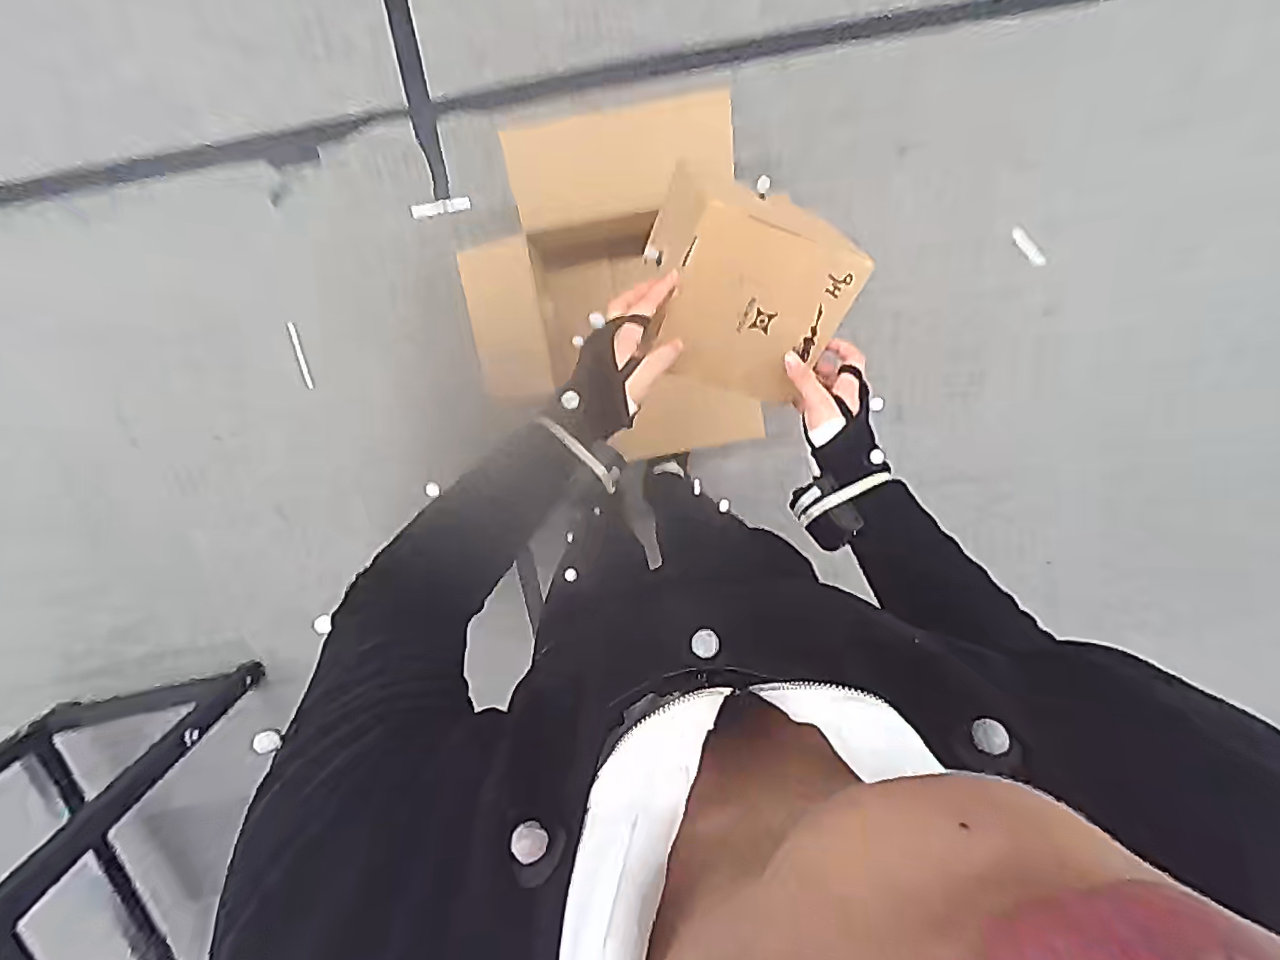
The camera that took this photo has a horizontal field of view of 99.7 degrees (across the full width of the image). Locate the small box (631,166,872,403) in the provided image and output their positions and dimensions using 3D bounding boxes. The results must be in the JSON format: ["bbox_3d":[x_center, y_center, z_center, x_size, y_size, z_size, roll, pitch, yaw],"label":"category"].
[{"bbox_3d":[0.098,-0.212,0.578,0.179,0.176,0.168,12,127,-18],"label":"small box"}]
